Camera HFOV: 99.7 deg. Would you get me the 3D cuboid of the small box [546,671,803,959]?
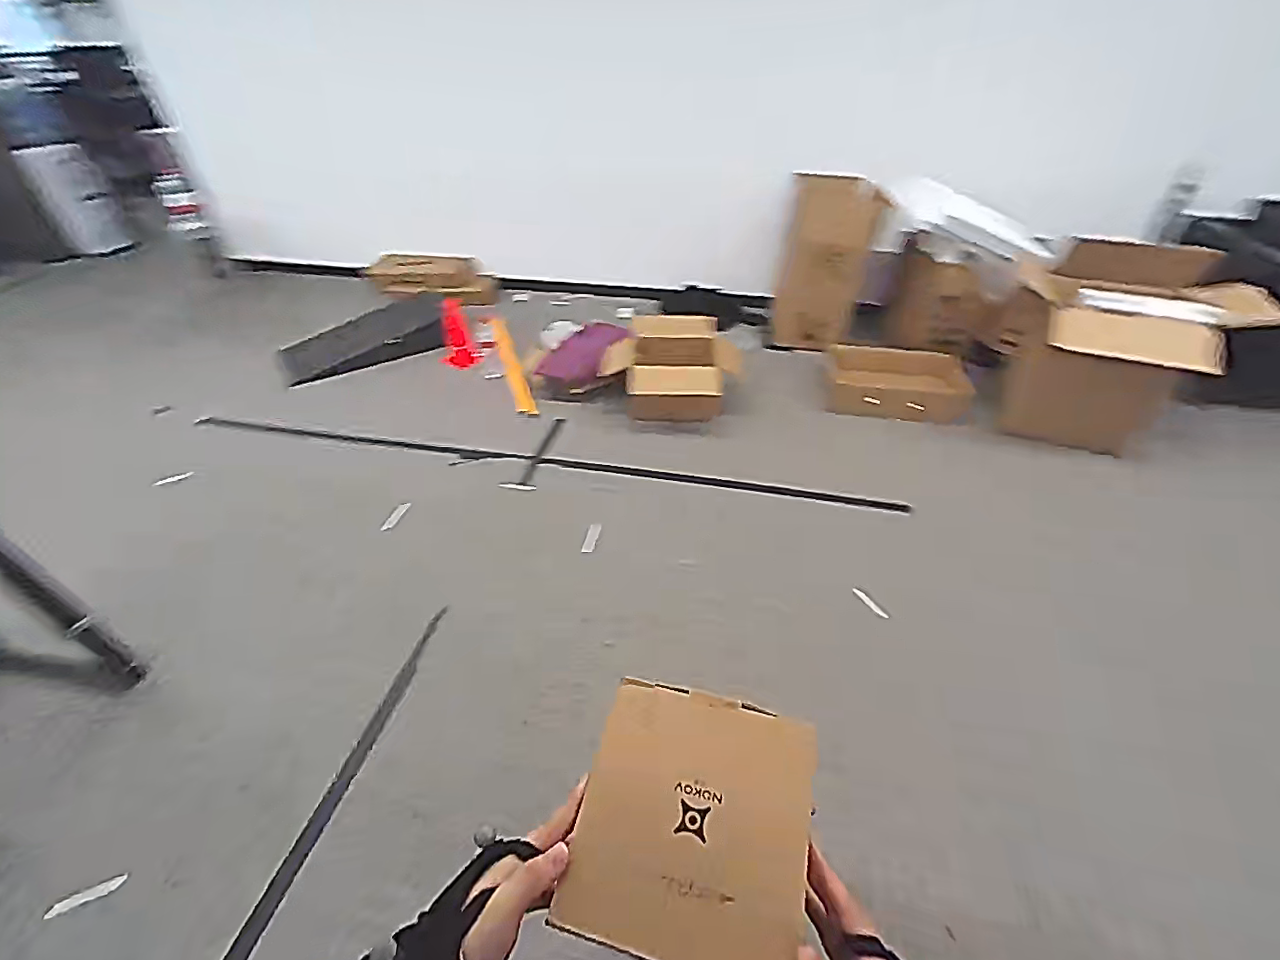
[{"bbox_3d":[0.037,0.296,0.462,0.168,0.176,0.179,9,49,12],"label":"small box"}]
